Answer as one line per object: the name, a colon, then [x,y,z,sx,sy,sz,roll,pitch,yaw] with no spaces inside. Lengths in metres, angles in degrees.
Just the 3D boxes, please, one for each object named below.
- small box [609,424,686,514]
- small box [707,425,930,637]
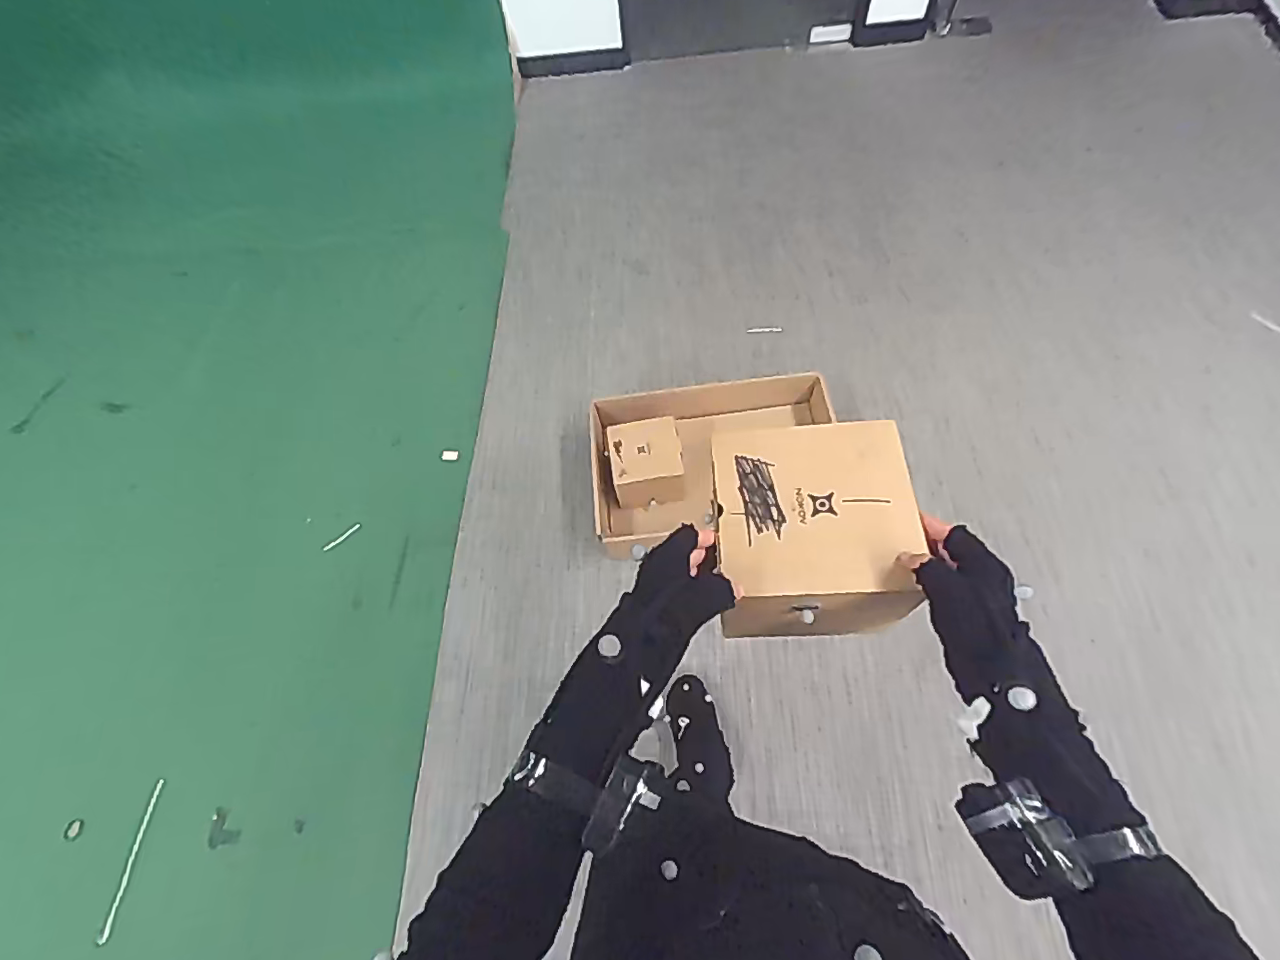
small box: [0.020,-0.024,1.402,0.179,0.176,0.168,-9,64,0]
small box: [0.164,0.062,0.556,0.179,0.176,0.168,-4,63,7]
